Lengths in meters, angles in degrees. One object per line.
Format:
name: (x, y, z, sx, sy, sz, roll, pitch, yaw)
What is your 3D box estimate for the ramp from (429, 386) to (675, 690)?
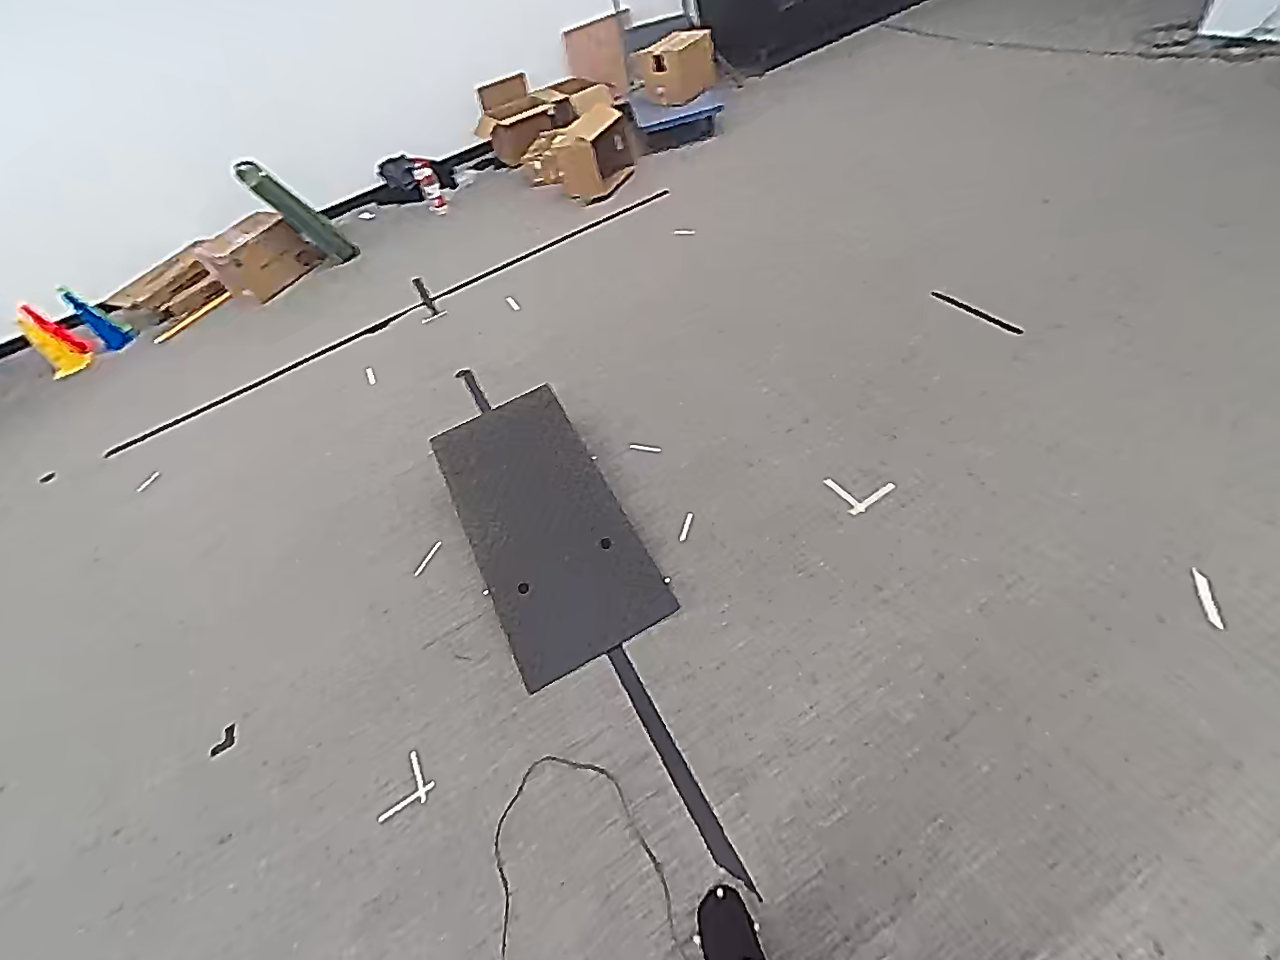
ramp: (-0.331, 0.117, 1.788, 0.509, 0.206, 0.991, -28, 51, -10)
